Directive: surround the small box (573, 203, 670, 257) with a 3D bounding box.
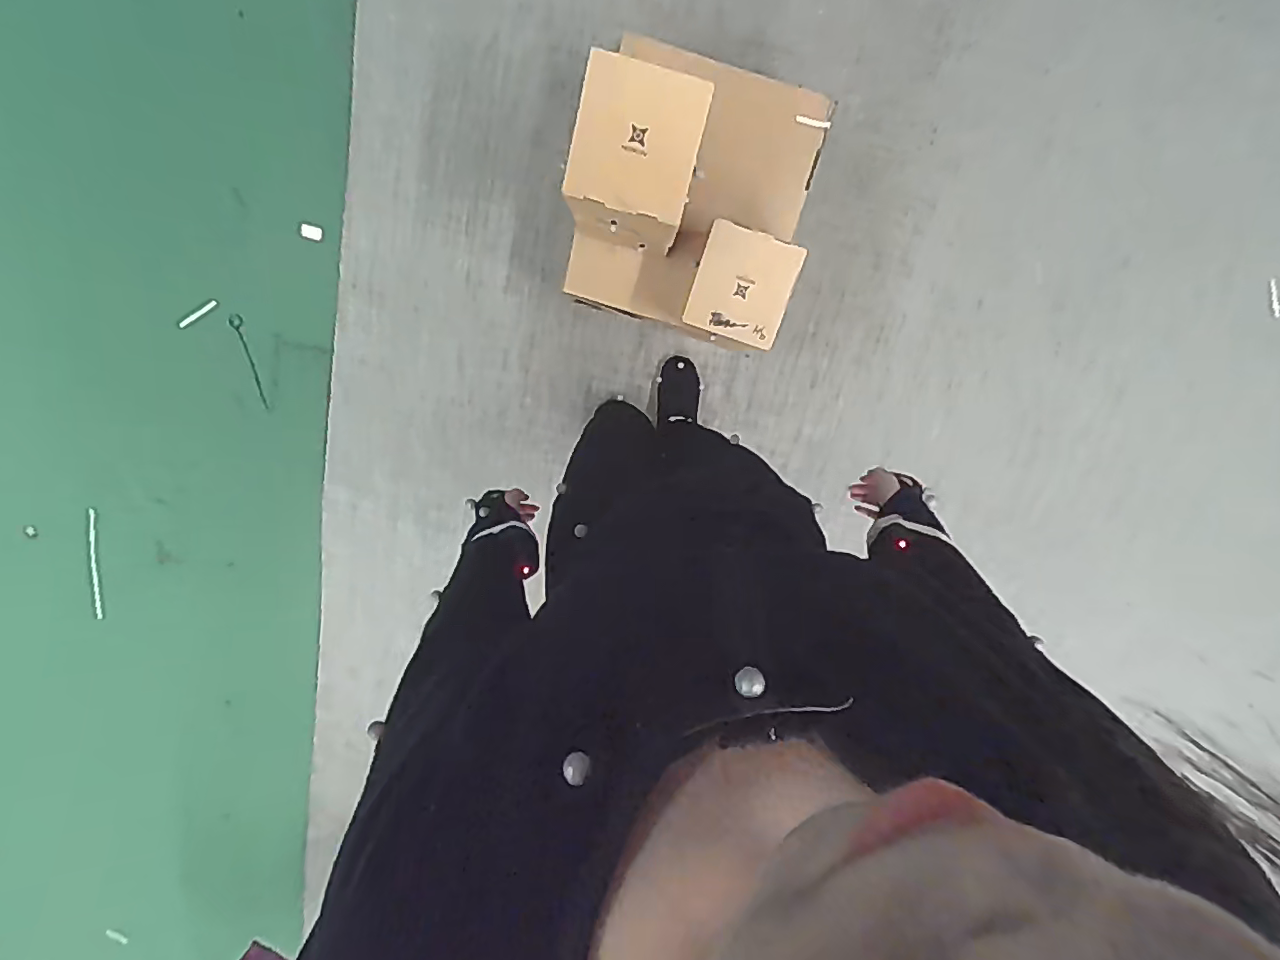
[{"bbox_3d":[-0.007,-0.506,0.940,0.168,0.176,0.179,16,104,-4],"label":"small box"}]

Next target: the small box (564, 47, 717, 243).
[{"bbox_3d":[-0.002,-0.465,0.782,0.168,0.176,0.179,16,106,-4],"label":"small box"}]

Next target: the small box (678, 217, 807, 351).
[{"bbox_3d":[0.173,-0.345,0.981,0.168,0.176,0.179,17,104,-5],"label":"small box"}]
